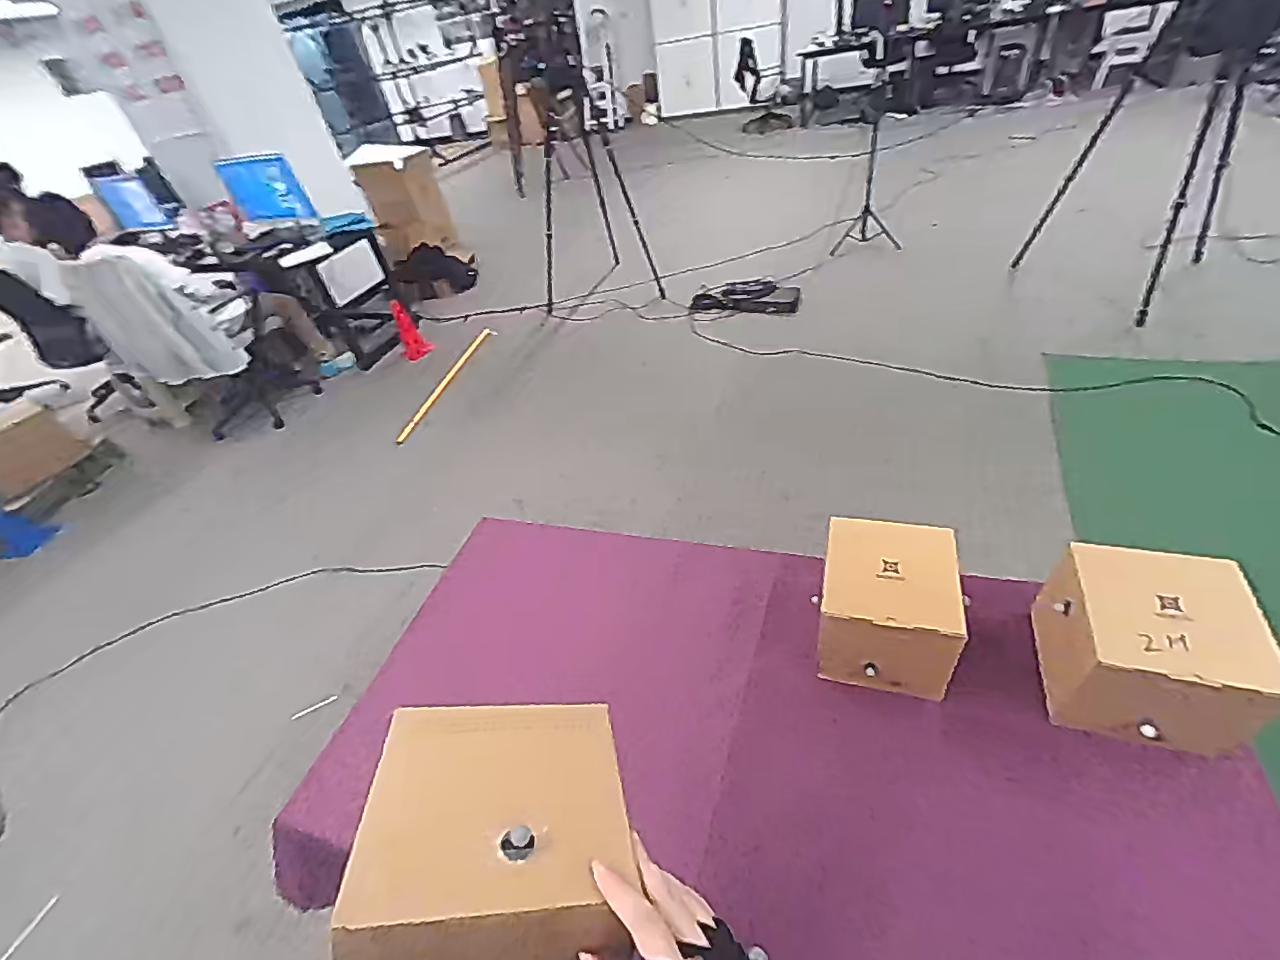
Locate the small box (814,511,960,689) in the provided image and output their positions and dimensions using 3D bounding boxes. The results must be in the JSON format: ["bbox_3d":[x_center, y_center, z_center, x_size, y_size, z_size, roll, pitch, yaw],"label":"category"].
[{"bbox_3d":[0.346,0.170,0.782,0.168,0.176,0.179,5,46,19],"label":"small box"}]

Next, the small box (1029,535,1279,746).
[{"bbox_3d":[0.614,0.197,0.676,0.168,0.176,0.179,6,48,22],"label":"small box"}]

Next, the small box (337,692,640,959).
[{"bbox_3d":[-0.109,0.285,0.416,0.179,0.168,0.176,5,19,-11],"label":"small box"}]
